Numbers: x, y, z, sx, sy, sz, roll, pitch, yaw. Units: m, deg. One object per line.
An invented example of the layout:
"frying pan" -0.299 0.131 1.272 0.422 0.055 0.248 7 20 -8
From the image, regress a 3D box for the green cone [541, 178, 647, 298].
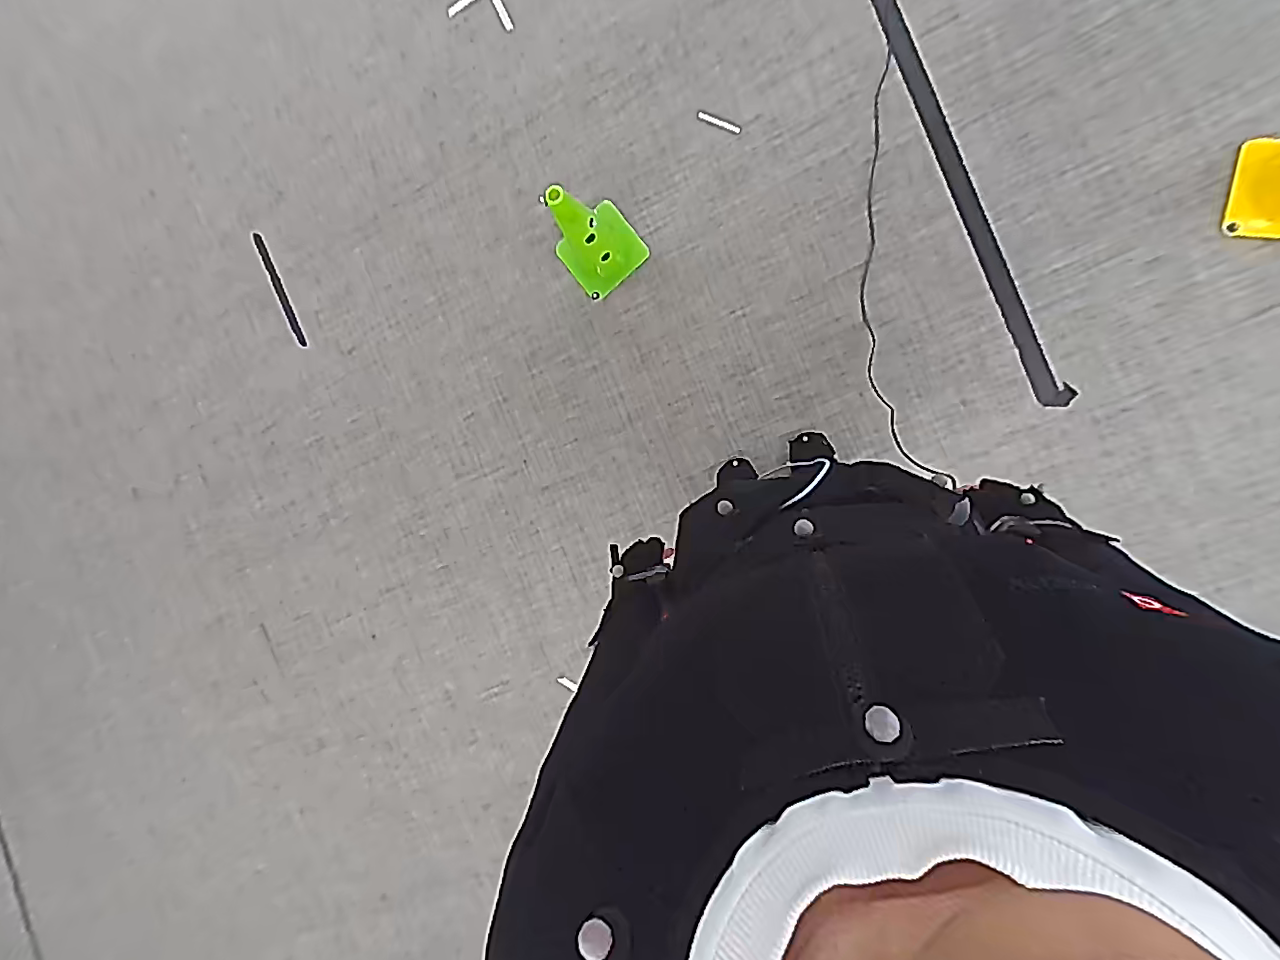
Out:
"green cone" -0.143 -0.613 1.291 0.200 0.368 0.202 -39 84 11
